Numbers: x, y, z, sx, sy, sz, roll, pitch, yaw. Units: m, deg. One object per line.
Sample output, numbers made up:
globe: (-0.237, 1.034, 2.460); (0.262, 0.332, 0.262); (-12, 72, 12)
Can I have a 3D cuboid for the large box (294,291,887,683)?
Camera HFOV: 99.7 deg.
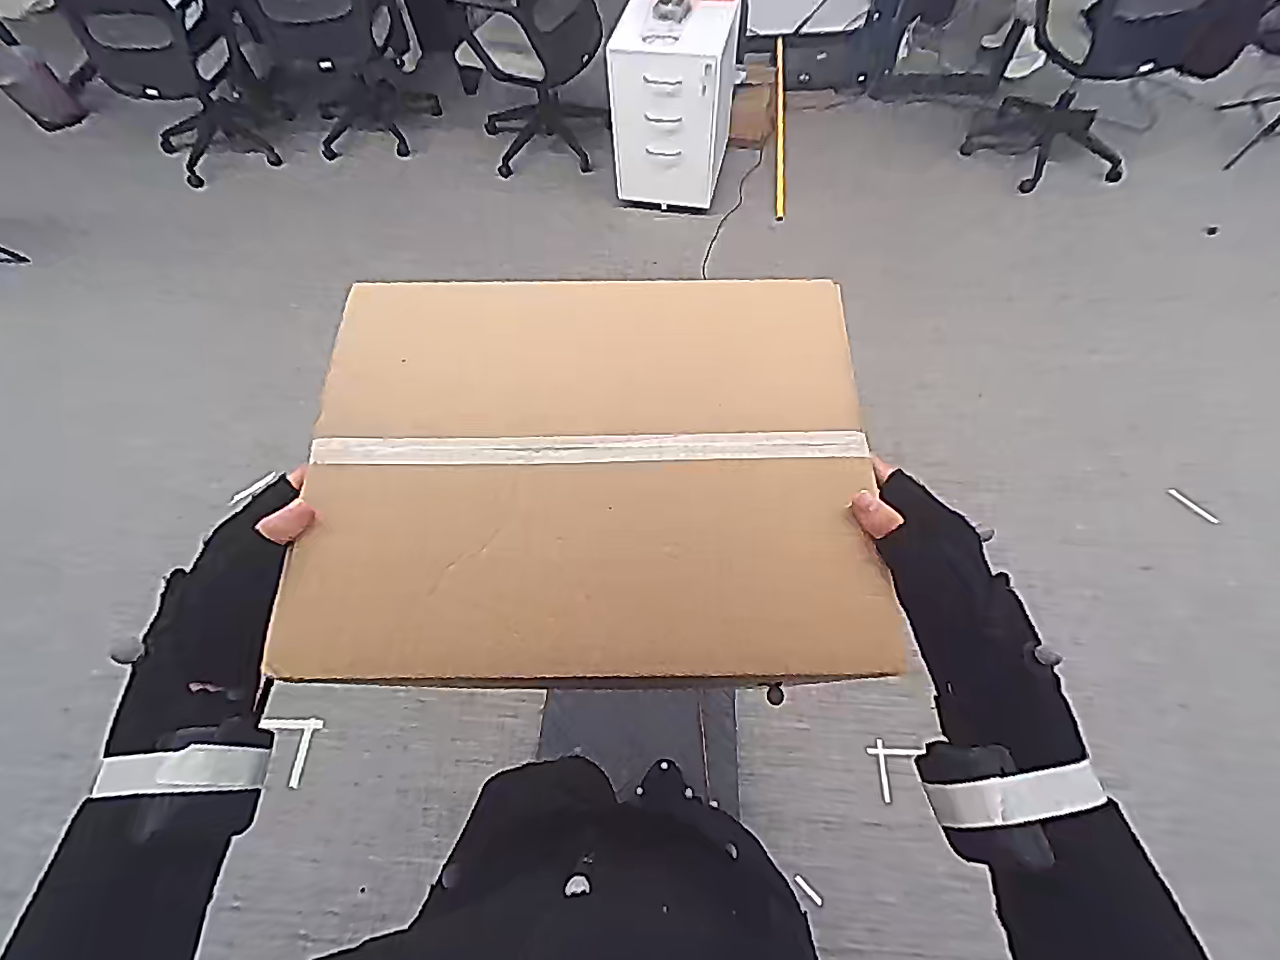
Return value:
large box: (-0.033, 0.038, 0.549); (0.408, 0.320, 0.320); (-1, 68, 0)
